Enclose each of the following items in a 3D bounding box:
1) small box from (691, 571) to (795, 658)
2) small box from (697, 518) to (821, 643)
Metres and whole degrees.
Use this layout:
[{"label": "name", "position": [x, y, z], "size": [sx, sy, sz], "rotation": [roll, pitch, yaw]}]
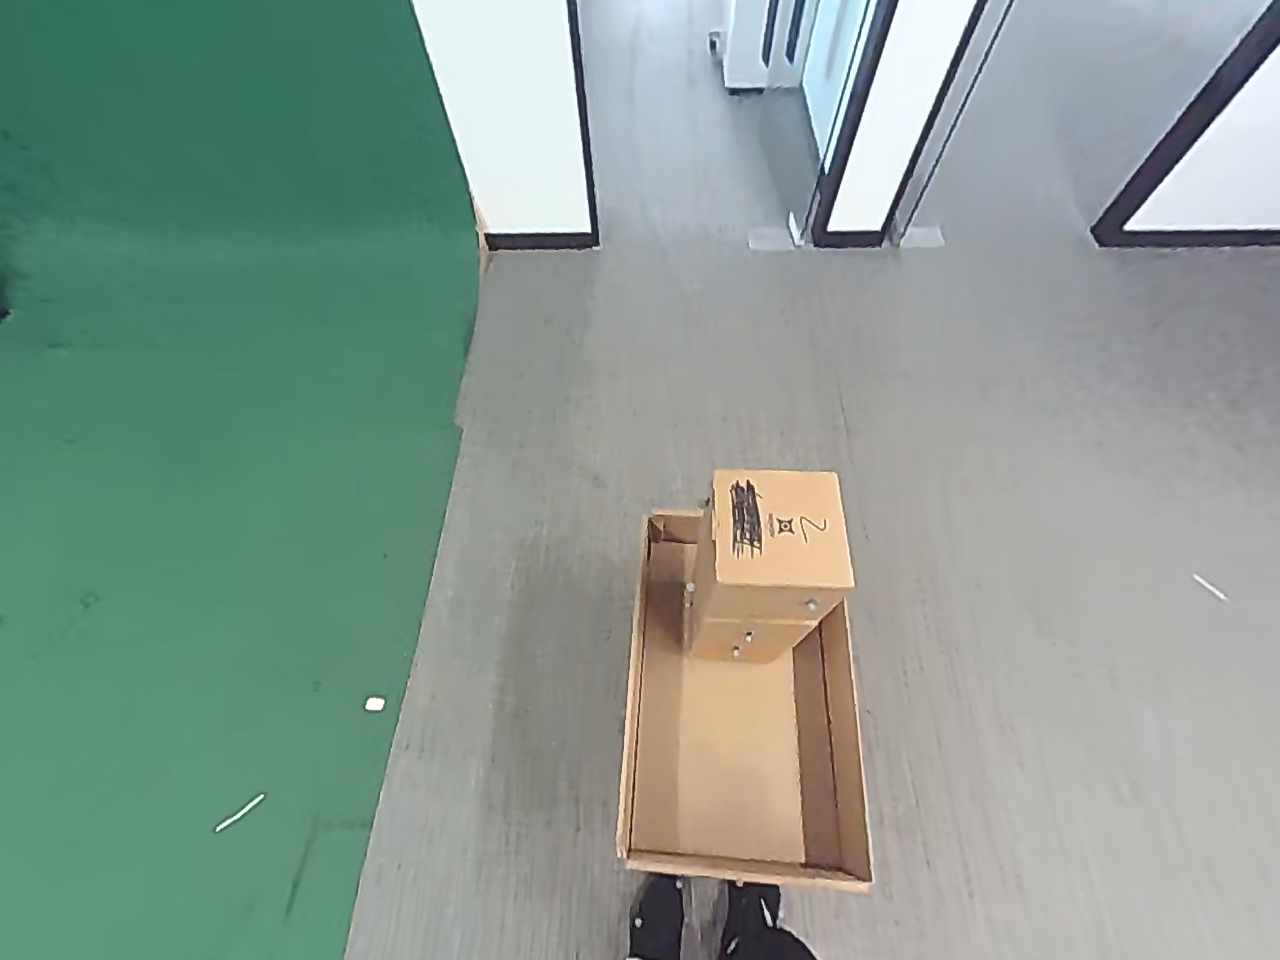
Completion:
[{"label": "small box", "position": [0.196, 0.250, 1.067], "size": [0.179, 0.176, 0.168], "rotation": [3, 62, 4]}, {"label": "small box", "position": [0.191, 0.176, 0.920], "size": [0.179, 0.176, 0.168], "rotation": [1, 62, 3]}]
